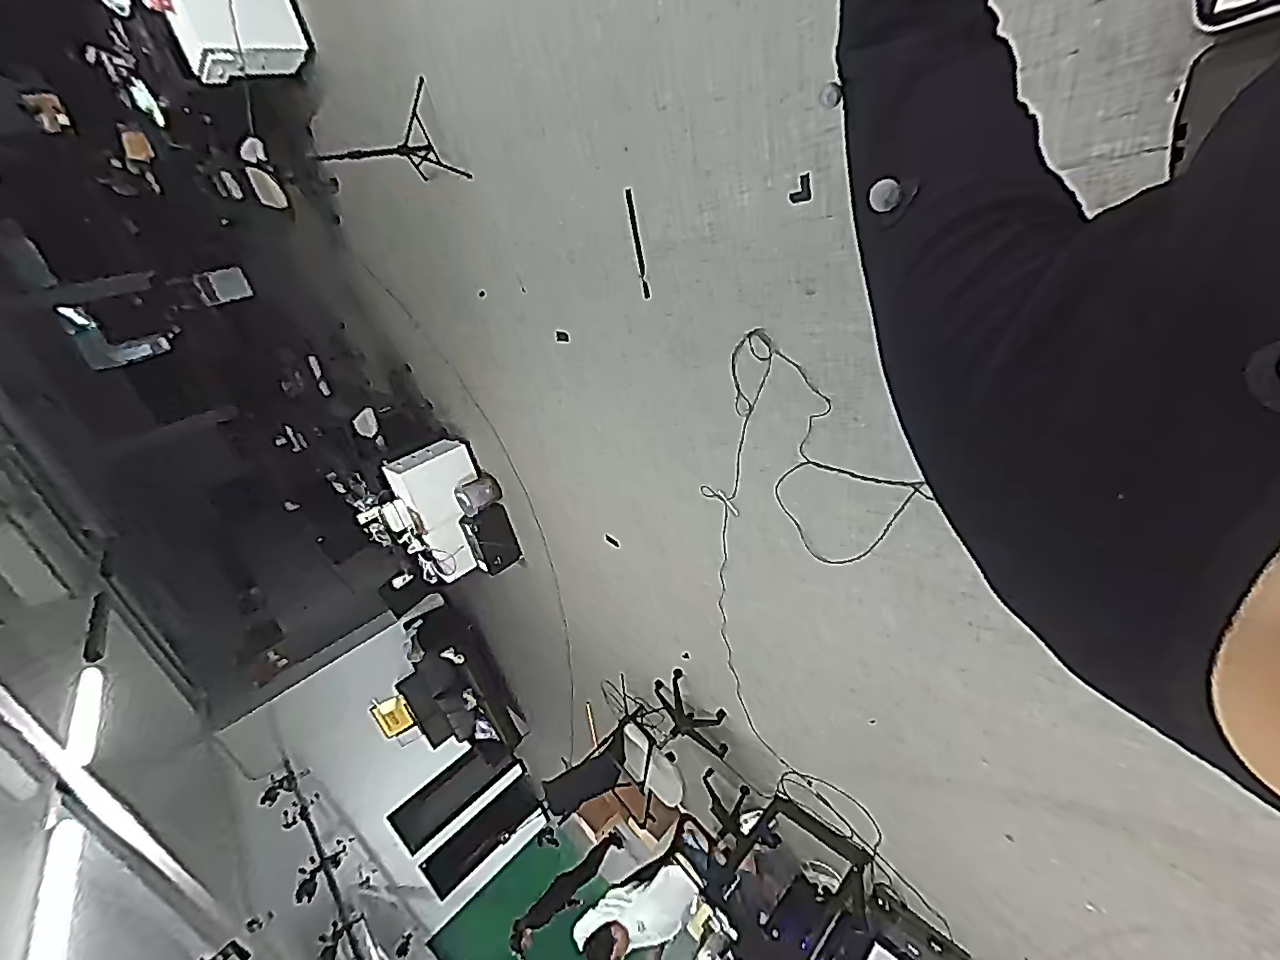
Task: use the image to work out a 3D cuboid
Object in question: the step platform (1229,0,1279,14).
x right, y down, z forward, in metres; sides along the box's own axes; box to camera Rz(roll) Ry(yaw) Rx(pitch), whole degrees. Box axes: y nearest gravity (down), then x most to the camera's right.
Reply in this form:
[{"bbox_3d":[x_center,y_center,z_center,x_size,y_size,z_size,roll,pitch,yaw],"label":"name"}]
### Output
[{"bbox_3d":[1.132,-0.820,0.578,0.684,0.204,0.286,11,125,46],"label":"step platform"}]
